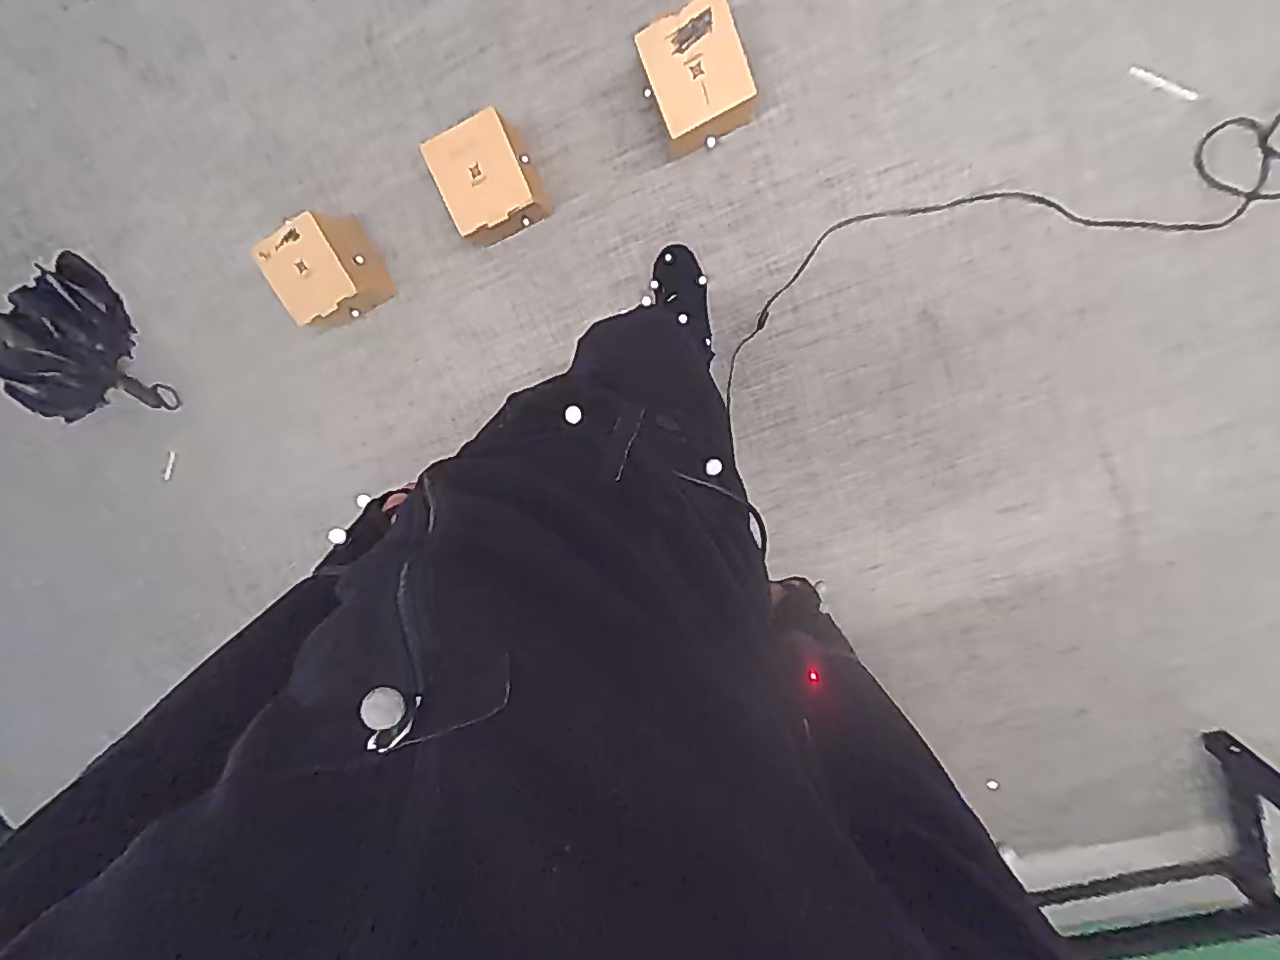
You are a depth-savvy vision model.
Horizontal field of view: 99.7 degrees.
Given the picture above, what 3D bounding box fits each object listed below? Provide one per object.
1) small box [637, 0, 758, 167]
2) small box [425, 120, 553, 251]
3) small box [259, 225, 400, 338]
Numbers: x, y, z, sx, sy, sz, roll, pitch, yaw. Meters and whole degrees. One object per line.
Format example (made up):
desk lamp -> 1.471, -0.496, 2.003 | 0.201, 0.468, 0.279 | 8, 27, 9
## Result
small box -> 0.108, -0.733, 1.025 | 0.168, 0.176, 0.179 | -22, 105, 13
small box -> -0.299, -0.591, 1.116 | 0.168, 0.176, 0.179 | -22, 103, 11
small box -> -0.676, -0.438, 1.202 | 0.168, 0.176, 0.179 | -25, 104, 13
